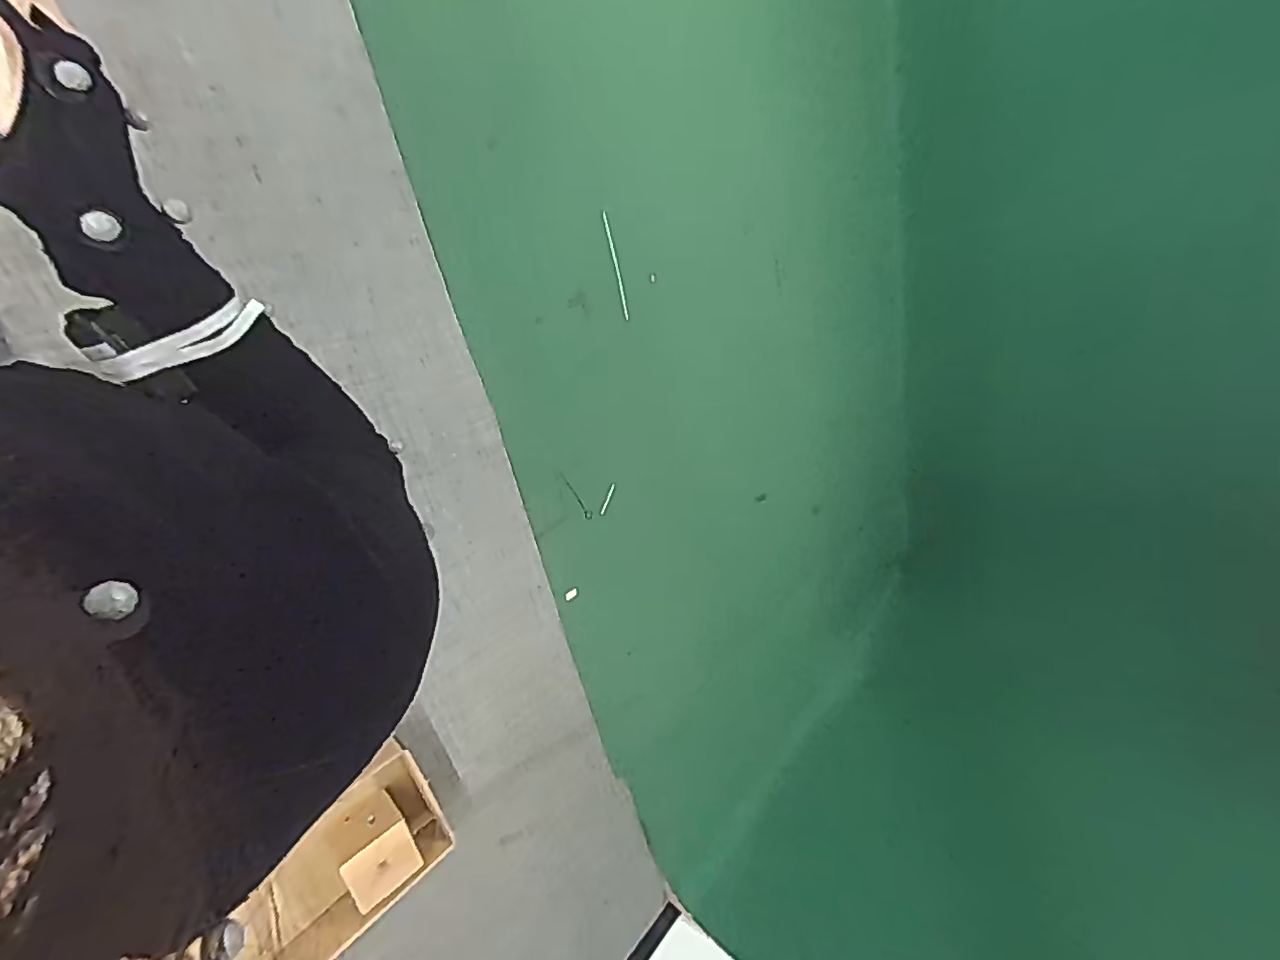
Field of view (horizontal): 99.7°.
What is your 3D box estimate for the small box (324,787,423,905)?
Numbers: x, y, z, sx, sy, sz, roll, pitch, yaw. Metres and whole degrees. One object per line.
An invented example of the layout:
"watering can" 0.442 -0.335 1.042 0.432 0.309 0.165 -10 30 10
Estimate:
"small box" -0.719 0.966 1.452 0.168 0.176 0.179 -27 116 -38
